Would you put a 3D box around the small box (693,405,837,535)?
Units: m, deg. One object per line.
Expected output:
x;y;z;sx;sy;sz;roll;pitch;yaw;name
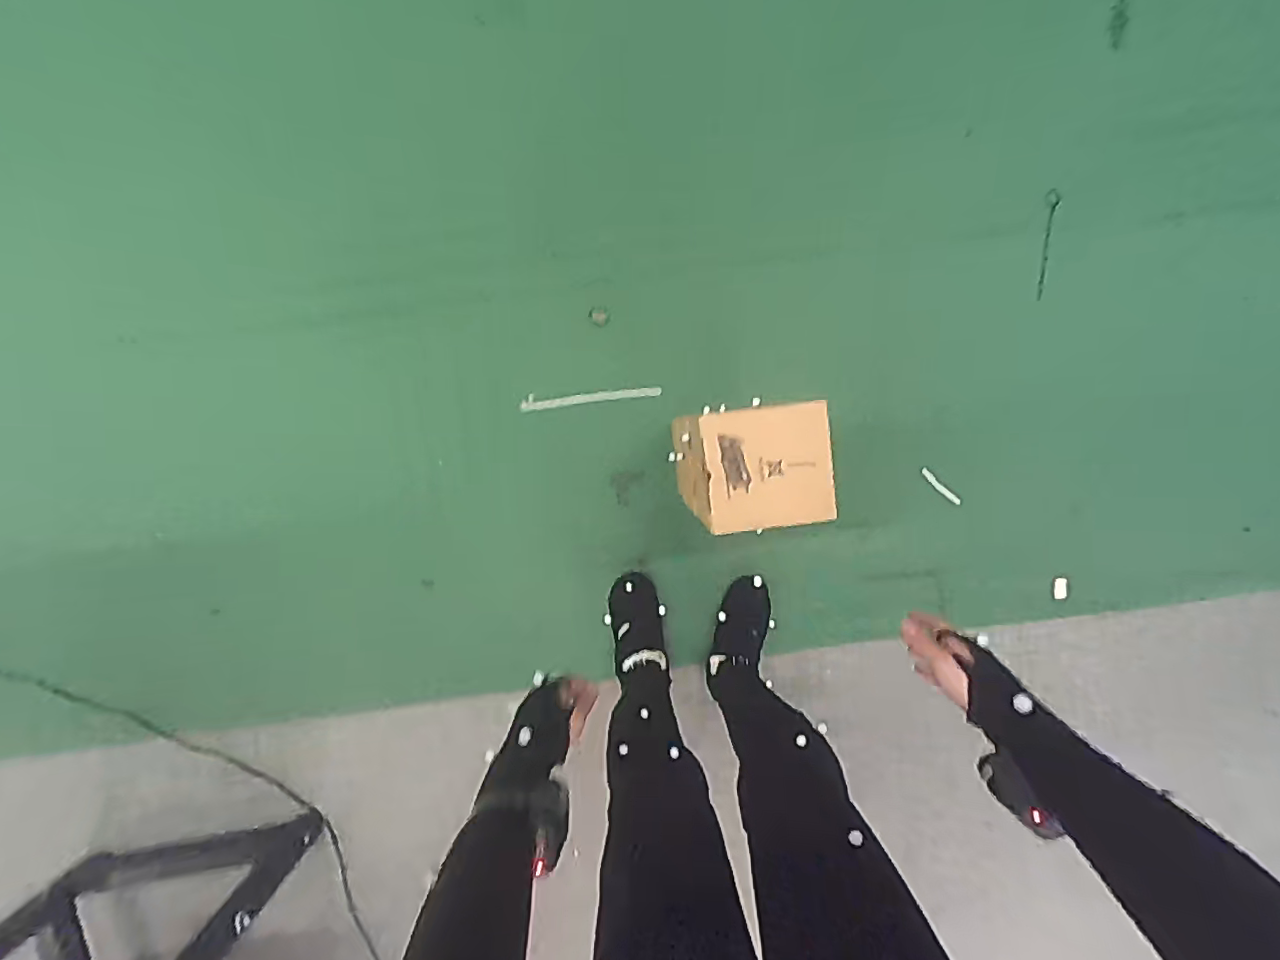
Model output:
0.176;-0.019;0.817;0.179;0.176;0.168;-7;96;-1;small box

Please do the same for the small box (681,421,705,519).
0.174;-0.030;0.980;0.179;0.176;0.168;-7;95;1;small box

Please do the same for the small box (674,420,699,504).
0.172;-0.047;1.142;0.179;0.176;0.168;-6;95;0;small box
